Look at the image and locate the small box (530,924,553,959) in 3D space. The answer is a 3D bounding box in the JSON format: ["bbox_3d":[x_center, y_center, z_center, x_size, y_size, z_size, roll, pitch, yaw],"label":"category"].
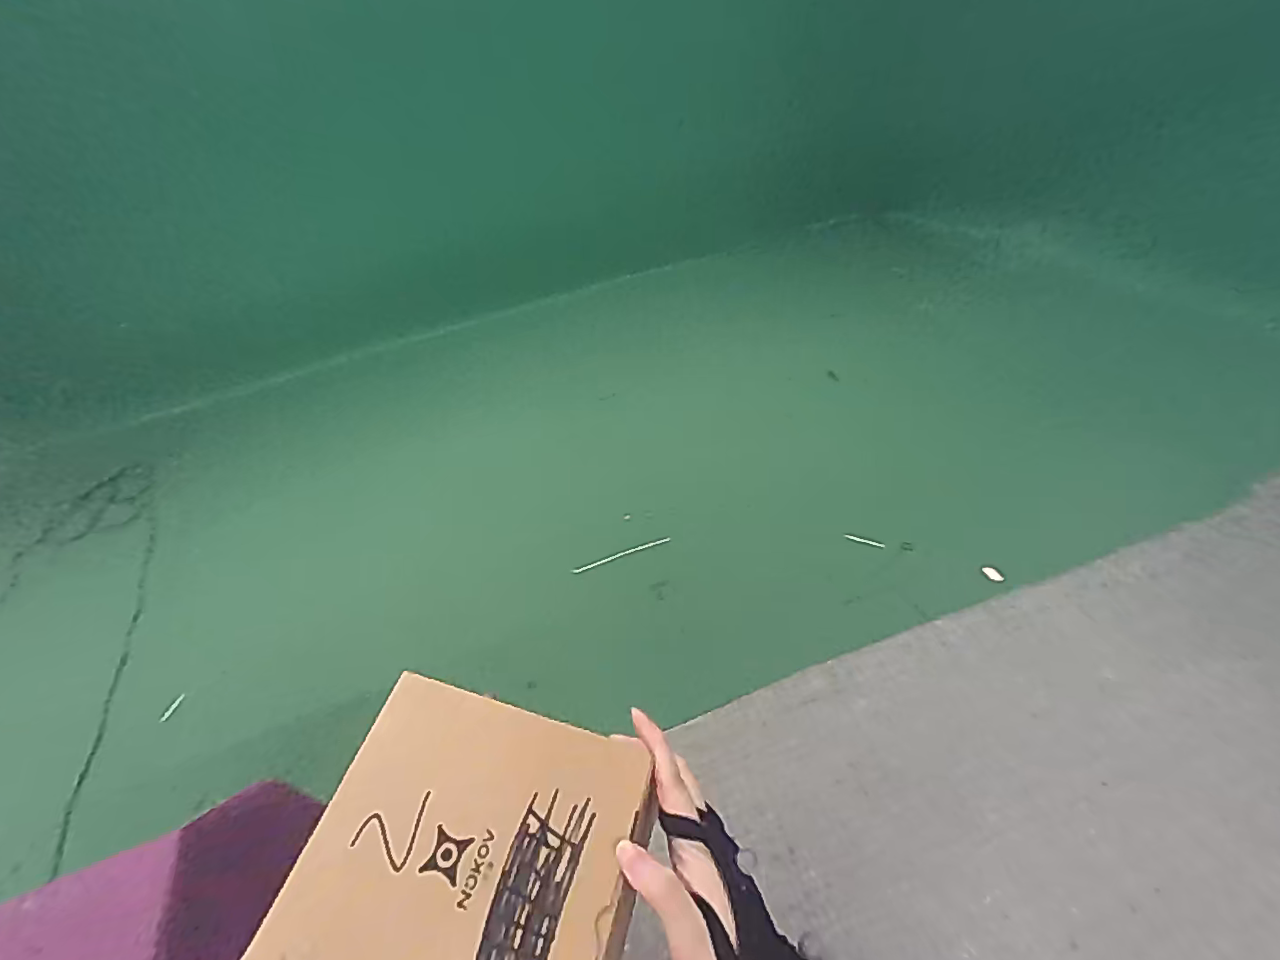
[{"bbox_3d":[-0.275,1.023,1.083,0.179,0.176,0.168,-14,41,0],"label":"small box"}]

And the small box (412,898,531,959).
[{"bbox_3d":[-0.297,0.897,0.978,0.179,0.176,0.168,-14,39,-4],"label":"small box"}]
